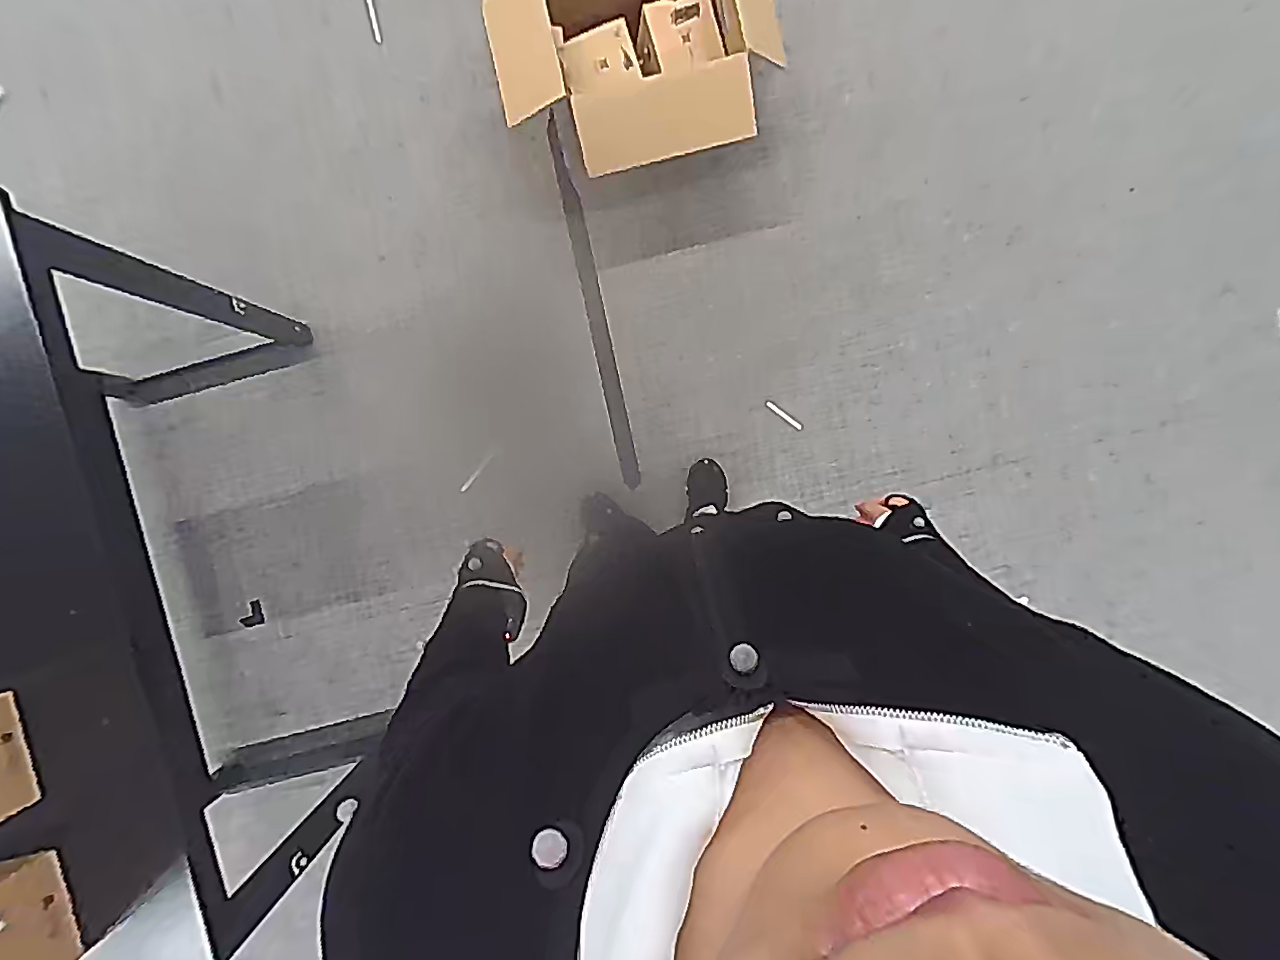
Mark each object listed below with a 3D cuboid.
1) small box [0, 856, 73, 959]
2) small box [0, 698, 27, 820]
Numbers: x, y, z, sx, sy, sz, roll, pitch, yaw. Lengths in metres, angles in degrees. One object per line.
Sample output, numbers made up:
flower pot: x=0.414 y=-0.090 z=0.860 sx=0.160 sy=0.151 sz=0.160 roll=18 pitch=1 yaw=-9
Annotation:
small box: x=-0.918 y=0.642 z=0.716 sx=0.179 sy=0.176 sz=0.168 roll=-15 pitch=90 yaw=2
small box: x=-0.974 y=0.409 z=0.706 sx=0.179 sy=0.176 sz=0.168 roll=-14 pitch=91 yaw=1
